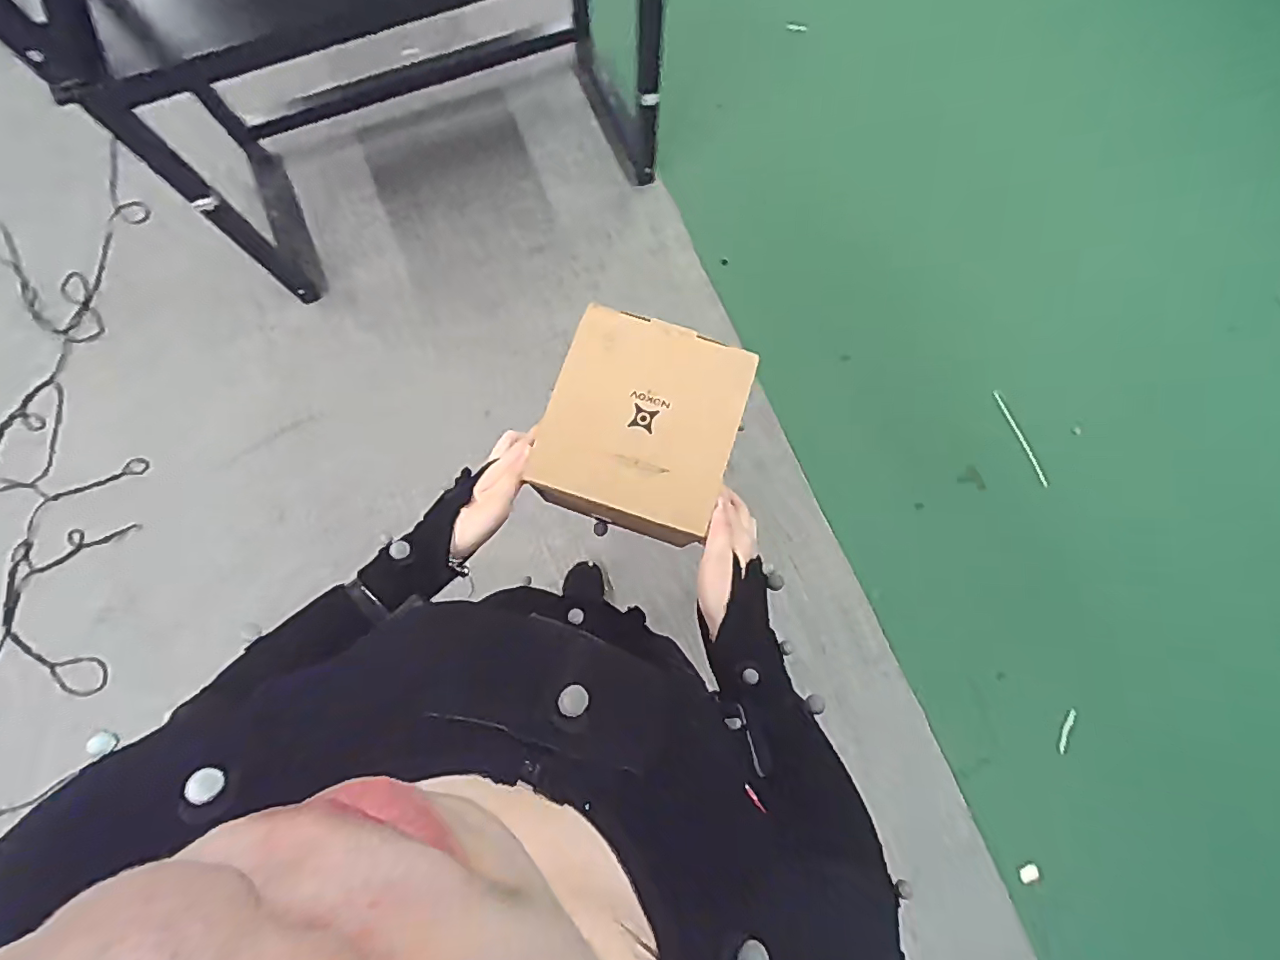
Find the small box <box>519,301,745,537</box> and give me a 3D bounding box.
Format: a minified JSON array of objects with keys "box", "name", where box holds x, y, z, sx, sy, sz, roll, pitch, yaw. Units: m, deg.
[{"box":[-0.008,-0.049,0.566,0.168,0.176,0.179,18,81,1],"name":"small box"}]
